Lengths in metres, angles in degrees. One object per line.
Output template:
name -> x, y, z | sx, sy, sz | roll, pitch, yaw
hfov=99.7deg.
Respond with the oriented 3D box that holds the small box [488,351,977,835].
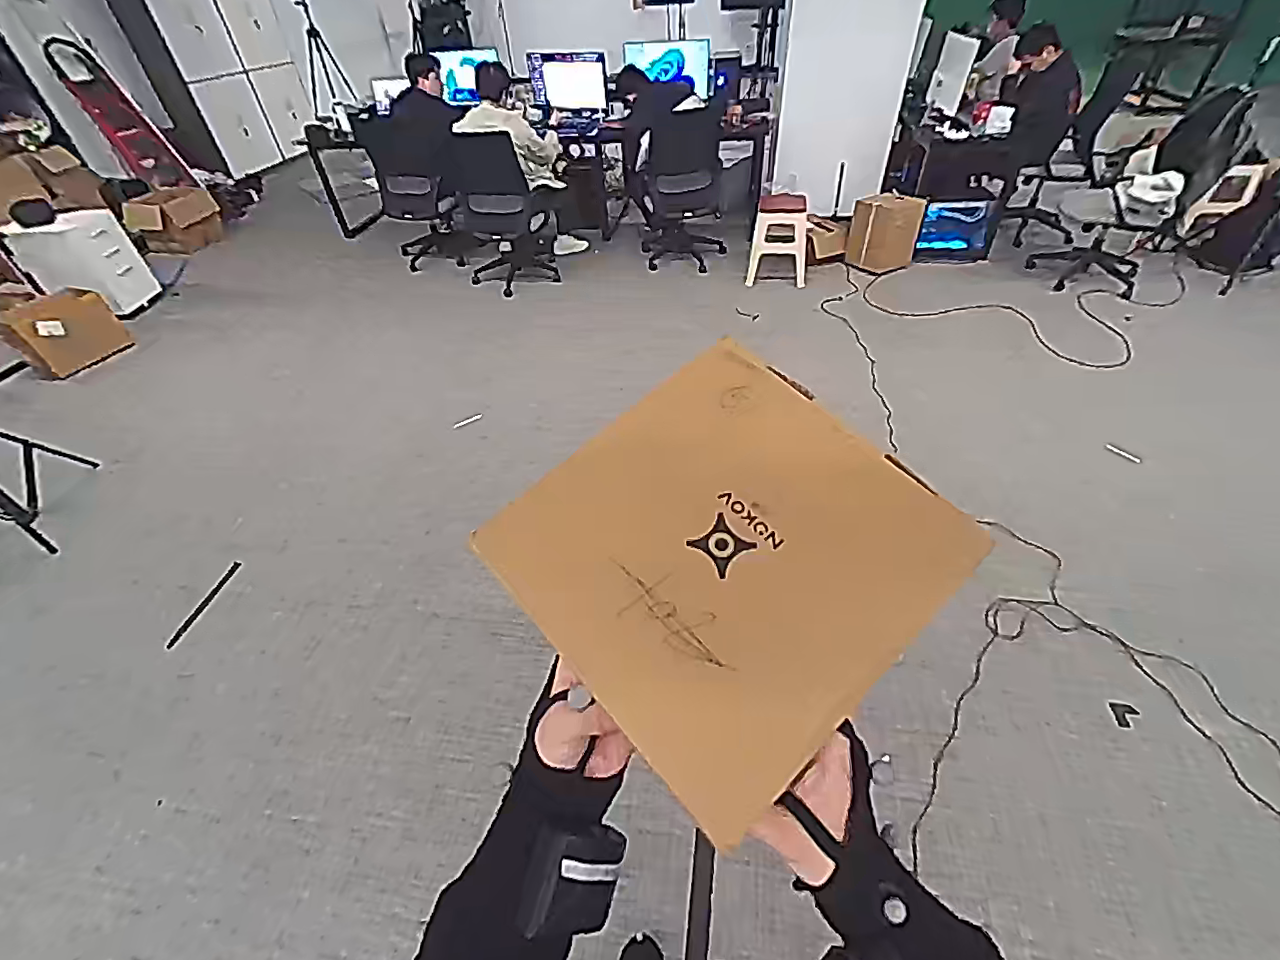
small box -> 0.044, 0.066, 0.327 | 0.179, 0.176, 0.168 | -40, 68, -16
